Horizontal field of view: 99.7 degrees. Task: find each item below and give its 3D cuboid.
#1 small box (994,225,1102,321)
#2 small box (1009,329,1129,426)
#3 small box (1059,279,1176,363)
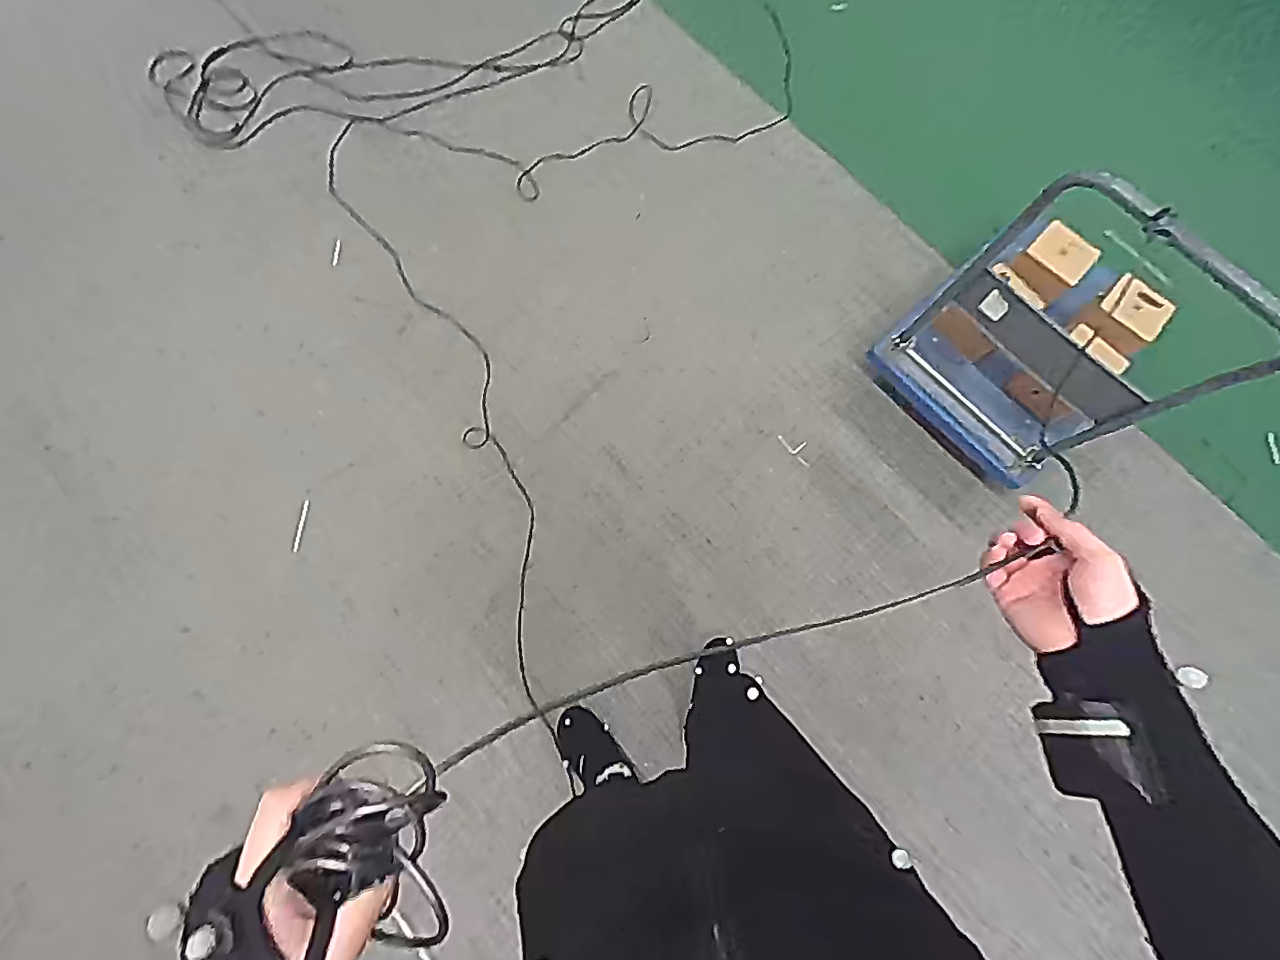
[{"bbox_3d":[1.224,-0.621,1.639,0.179,0.176,0.168,-43,82,-16],"label":"small box"},{"bbox_3d":[1.200,-0.284,1.528,0.179,0.176,0.168,-38,80,-15],"label":"small box"},{"bbox_3d":[1.402,-0.448,1.601,0.179,0.176,0.168,-43,80,-15],"label":"small box"}]
